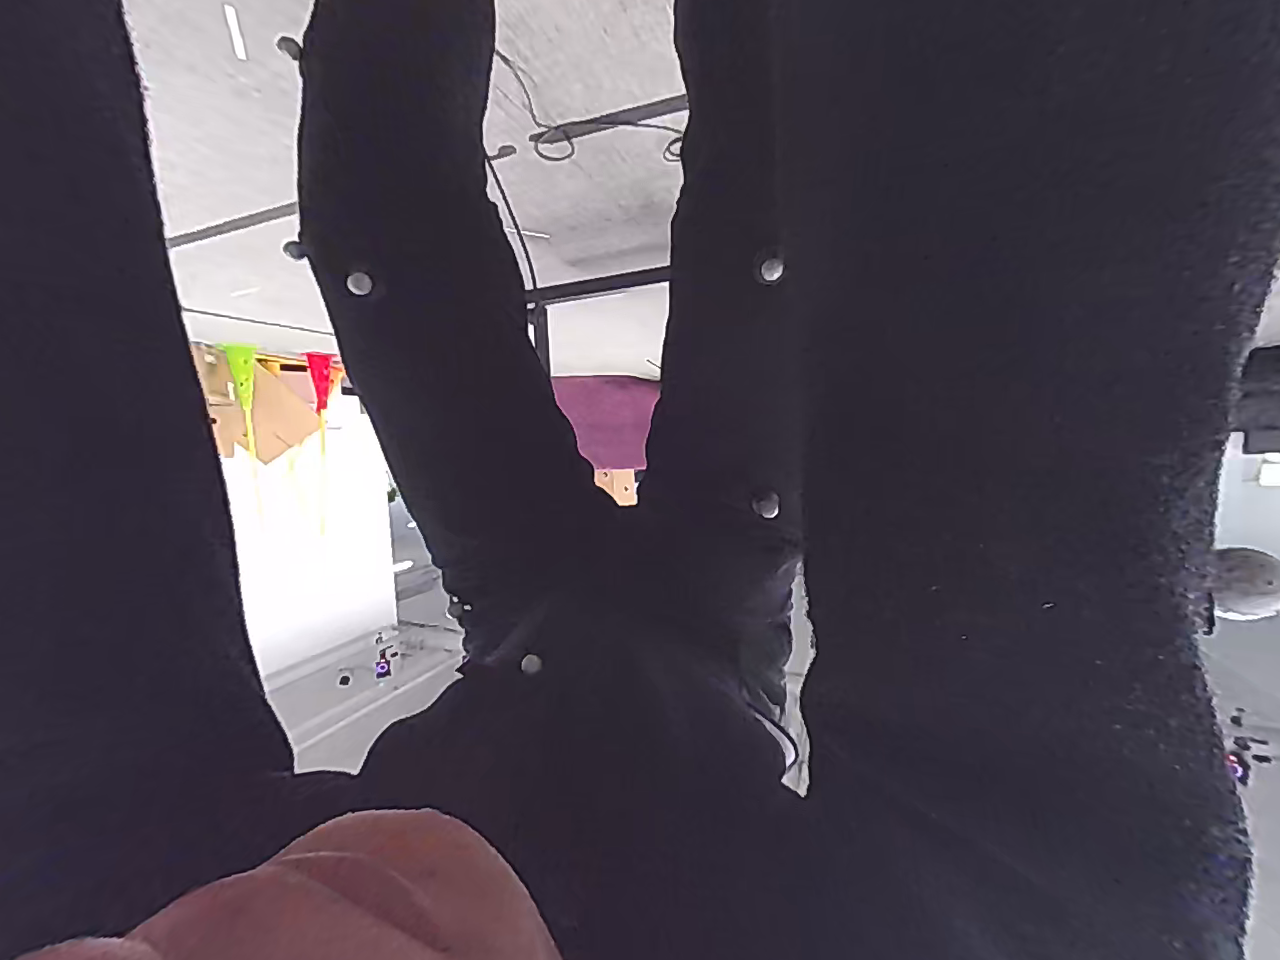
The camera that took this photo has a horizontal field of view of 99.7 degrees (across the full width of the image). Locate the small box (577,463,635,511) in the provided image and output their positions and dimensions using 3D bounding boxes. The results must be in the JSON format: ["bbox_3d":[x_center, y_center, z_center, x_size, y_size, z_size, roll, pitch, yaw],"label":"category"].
[{"bbox_3d":[-0.134,0.025,2.101,0.168,0.176,0.179,0,-174,27],"label":"small box"}]
